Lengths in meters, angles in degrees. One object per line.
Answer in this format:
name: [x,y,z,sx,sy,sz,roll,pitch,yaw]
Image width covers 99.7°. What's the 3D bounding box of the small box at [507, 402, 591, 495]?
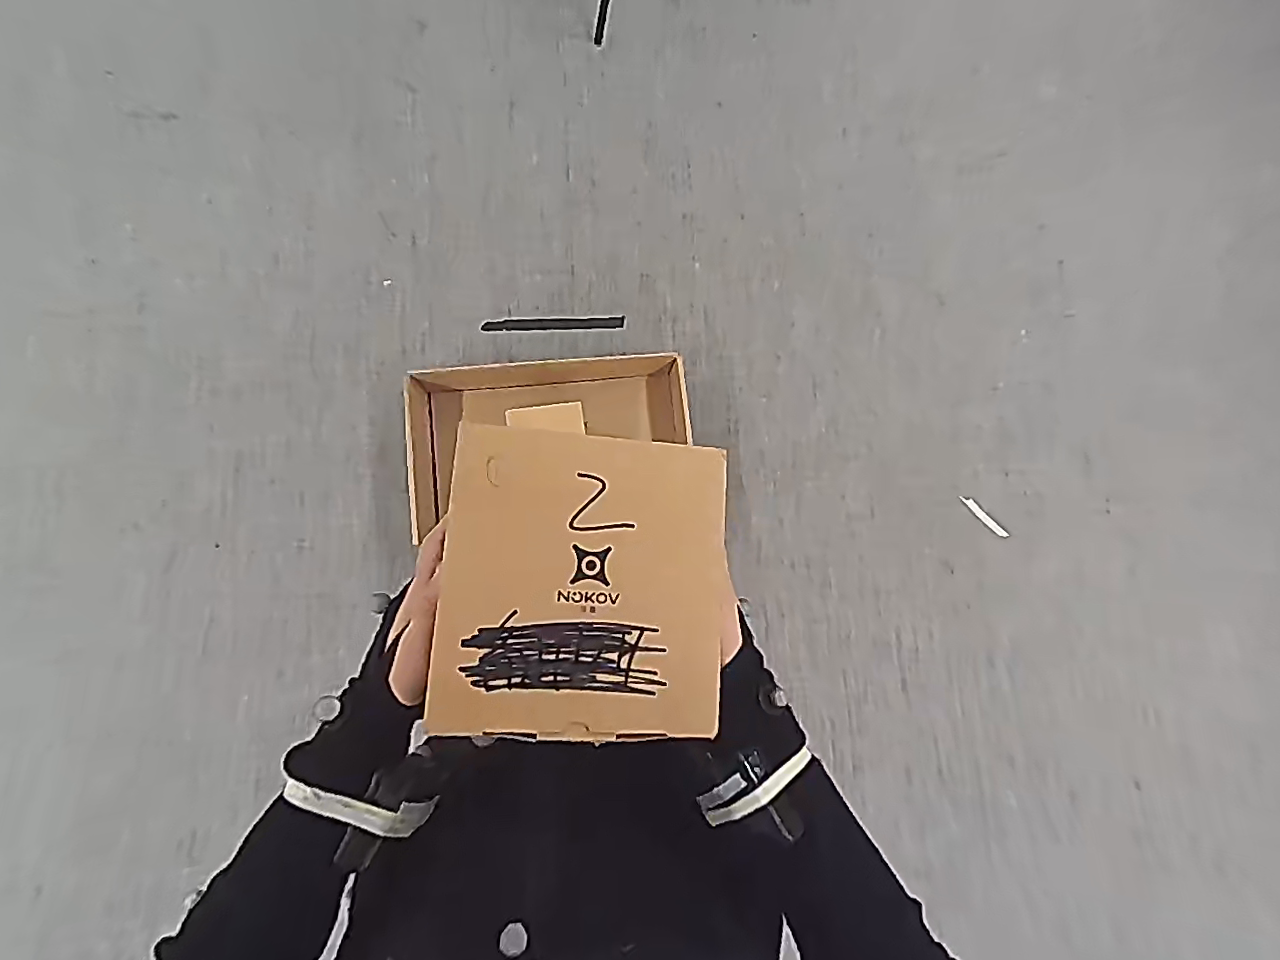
small box: [-0.204,-0.067,1.237,0.168,0.176,0.179,-7,84,-6]
